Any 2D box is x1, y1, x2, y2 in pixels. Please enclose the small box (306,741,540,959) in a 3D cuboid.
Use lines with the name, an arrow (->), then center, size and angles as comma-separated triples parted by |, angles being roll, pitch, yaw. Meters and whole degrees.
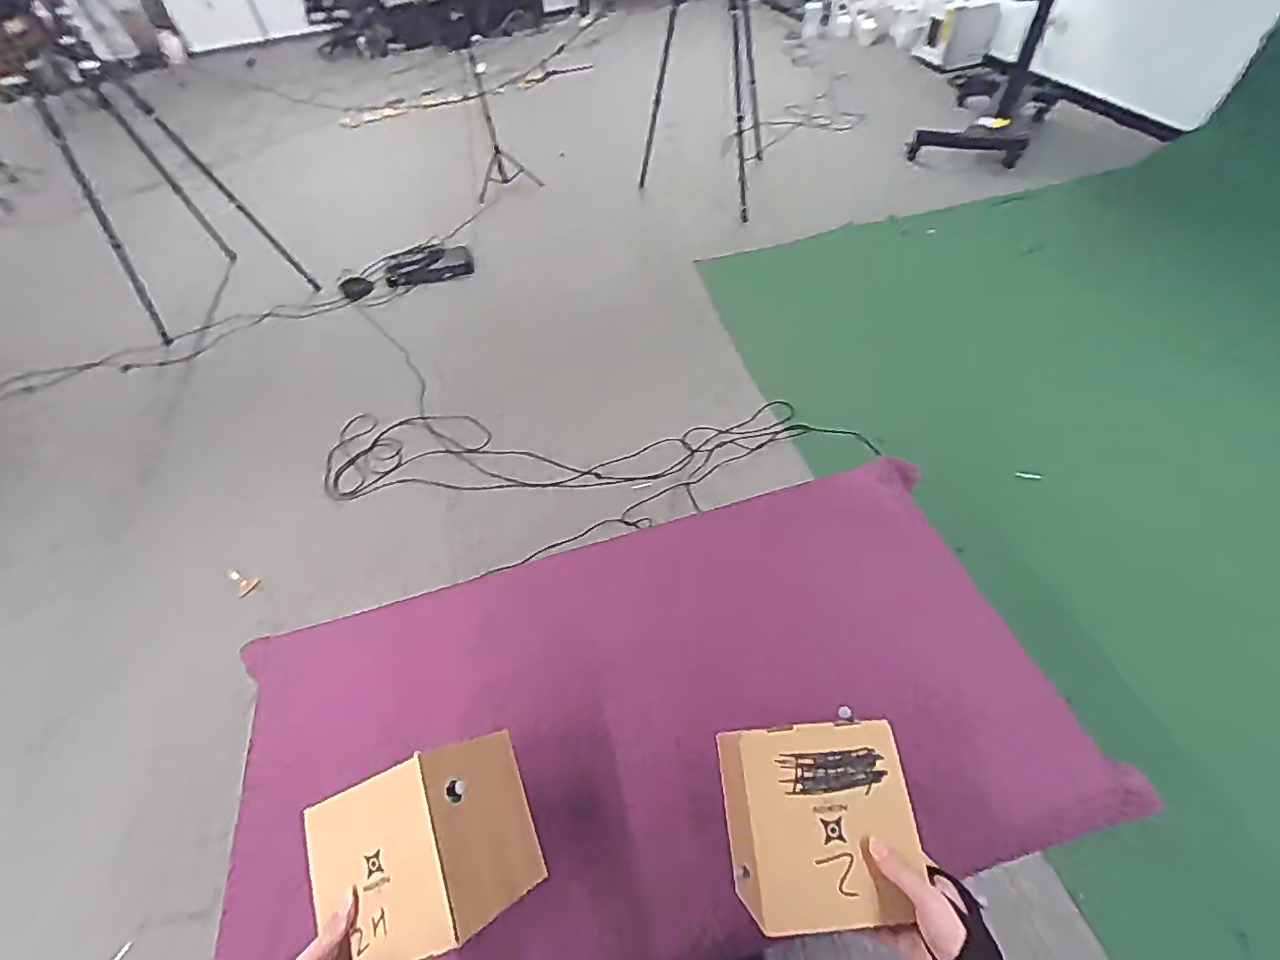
small box -> -0.243, 0.421, 0.625 | 0.168, 0.176, 0.179 | -29, 66, 12
